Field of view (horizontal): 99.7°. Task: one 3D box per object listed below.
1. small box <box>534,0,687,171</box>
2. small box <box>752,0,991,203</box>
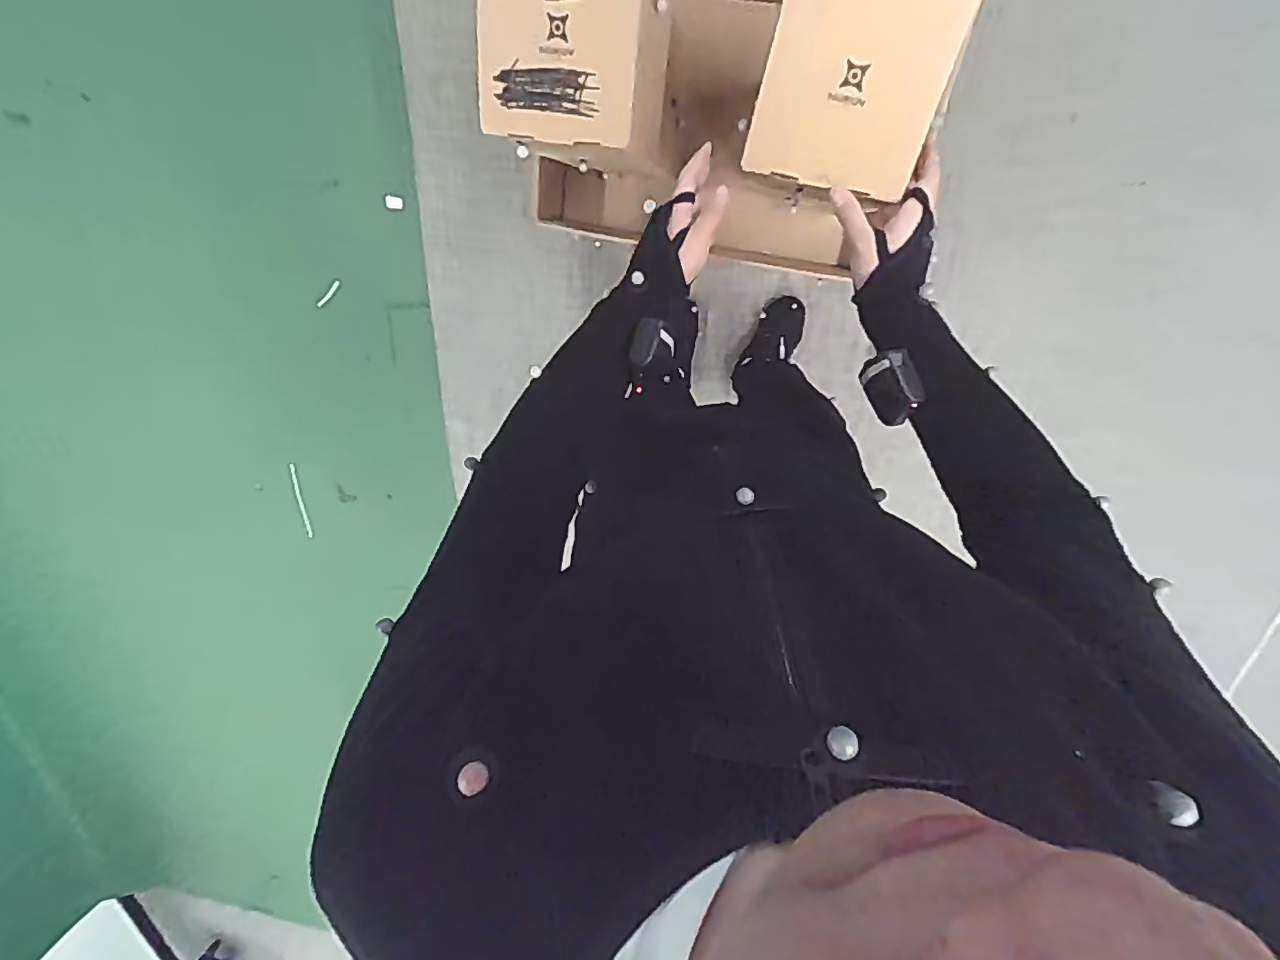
[{"bbox_3d":[-0.034,-0.538,0.736,0.168,0.176,0.179,11,116,8],"label":"small box"},{"bbox_3d":[0.220,-0.405,0.565,0.168,0.176,0.179,16,118,5],"label":"small box"}]
